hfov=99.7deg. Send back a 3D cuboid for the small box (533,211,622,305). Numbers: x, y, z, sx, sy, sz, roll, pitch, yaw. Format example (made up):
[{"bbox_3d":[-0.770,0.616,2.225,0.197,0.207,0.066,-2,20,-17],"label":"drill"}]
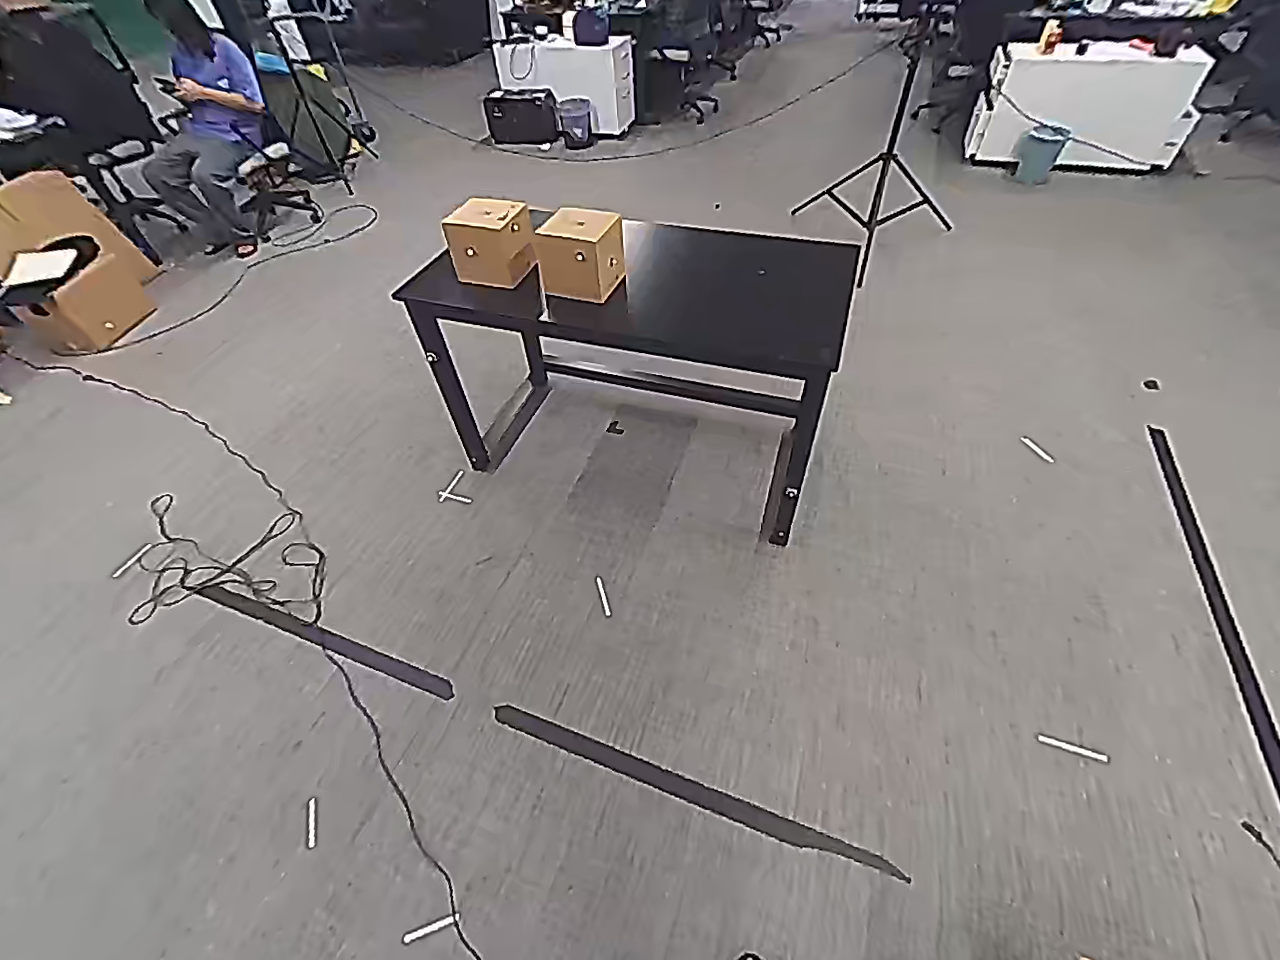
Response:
[{"bbox_3d":[-0.156,-0.587,1.437,0.179,0.176,0.168,14,50,15],"label":"small box"}]

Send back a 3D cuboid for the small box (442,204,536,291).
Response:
[{"bbox_3d":[-0.412,-0.648,1.508,0.179,0.176,0.168,11,50,14],"label":"small box"}]
